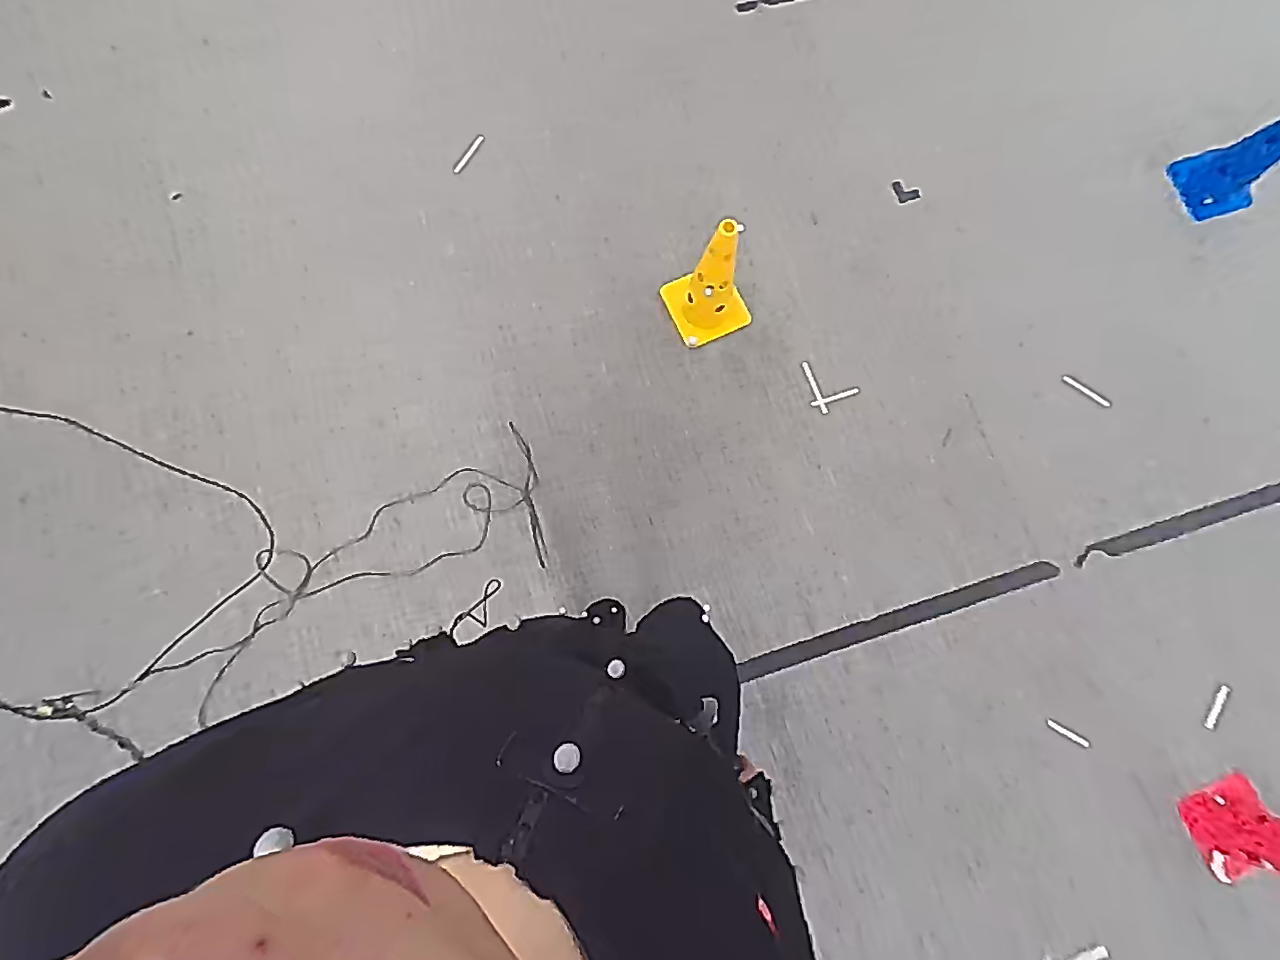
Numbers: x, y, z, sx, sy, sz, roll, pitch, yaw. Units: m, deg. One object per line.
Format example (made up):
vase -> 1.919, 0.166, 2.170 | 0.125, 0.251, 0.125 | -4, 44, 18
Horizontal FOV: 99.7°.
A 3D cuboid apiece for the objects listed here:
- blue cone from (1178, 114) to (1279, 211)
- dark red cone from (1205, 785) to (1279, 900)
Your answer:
blue cone -> 1.678, -0.904, 1.403 | 0.193, 0.380, 0.192 | -17, 81, -4
dark red cone -> 1.446, 0.815, 1.101 | 0.202, 0.394, 0.201 | -25, 81, -5
